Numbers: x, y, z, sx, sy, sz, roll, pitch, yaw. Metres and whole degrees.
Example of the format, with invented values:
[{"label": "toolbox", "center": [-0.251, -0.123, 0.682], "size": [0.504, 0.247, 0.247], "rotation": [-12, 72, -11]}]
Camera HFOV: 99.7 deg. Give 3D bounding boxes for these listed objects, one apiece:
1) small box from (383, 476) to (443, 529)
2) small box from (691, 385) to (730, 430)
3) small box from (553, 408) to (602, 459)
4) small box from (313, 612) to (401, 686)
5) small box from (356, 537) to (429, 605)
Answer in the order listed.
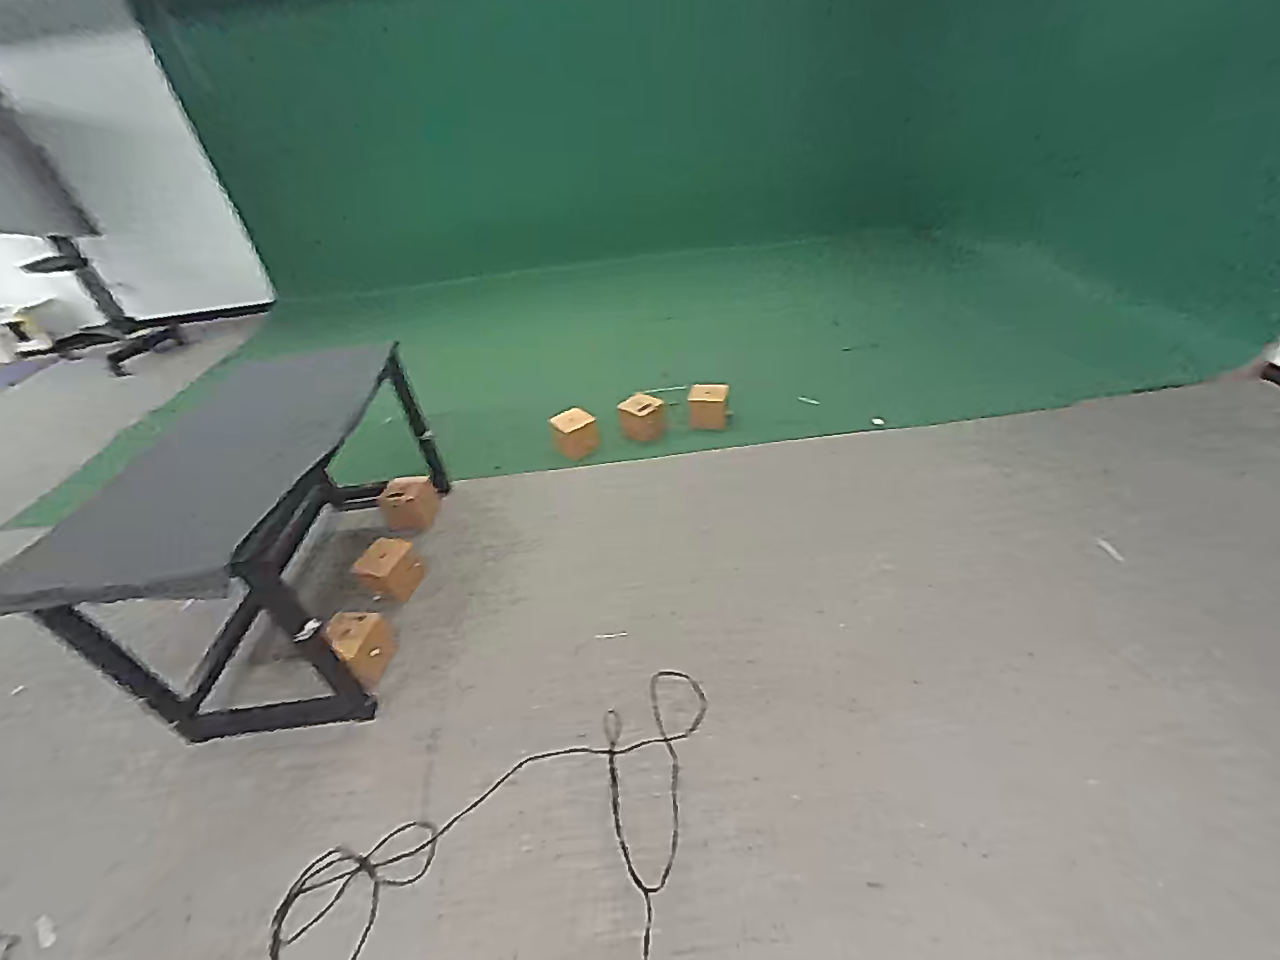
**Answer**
[{"label": "small box", "center": [-0.995, 0.104, 2.385], "size": [0.168, 0.176, 0.179], "rotation": [-3, 37, 5]}, {"label": "small box", "center": [0.363, -0.367, 2.754], "size": [0.179, 0.176, 0.168], "rotation": [6, 40, 16]}, {"label": "small box", "center": [-0.311, -0.229, 2.696], "size": [0.168, 0.176, 0.179], "rotation": [-30, 44, -27]}, {"label": "small box", "center": [-0.926, 0.561, 1.791], "size": [0.168, 0.176, 0.179], "rotation": [1, 39, 10]}, {"label": "small box", "center": [-0.933, 0.347, 2.065], "size": [0.168, 0.176, 0.179], "rotation": [5, 41, 17]}]
